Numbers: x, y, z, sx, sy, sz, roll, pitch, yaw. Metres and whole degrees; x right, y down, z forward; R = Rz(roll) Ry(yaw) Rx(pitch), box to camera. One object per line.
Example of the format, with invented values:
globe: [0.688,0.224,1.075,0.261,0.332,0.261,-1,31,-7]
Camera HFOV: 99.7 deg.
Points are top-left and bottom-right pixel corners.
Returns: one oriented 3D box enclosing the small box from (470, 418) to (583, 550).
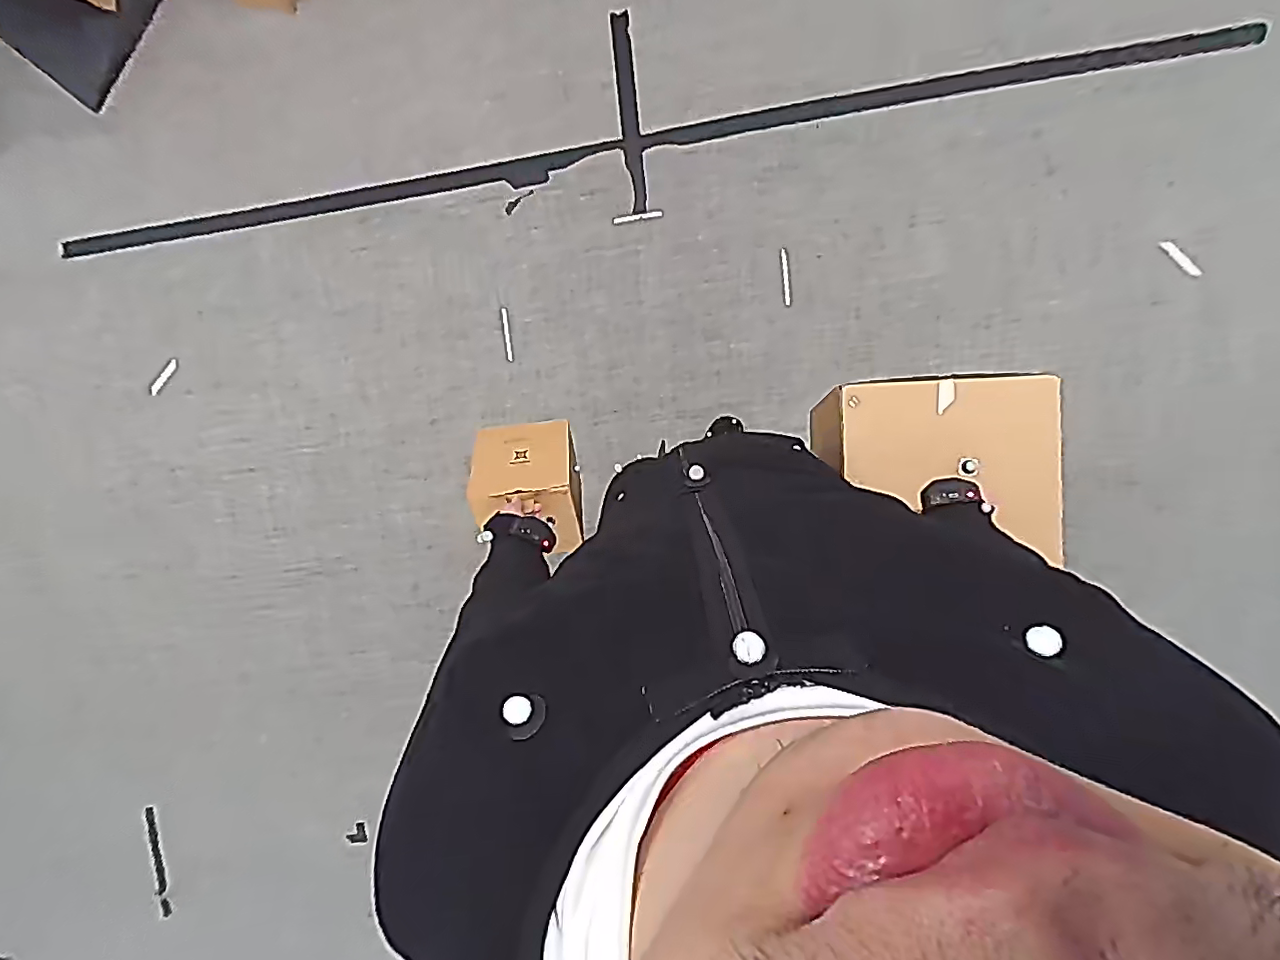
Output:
small box: [-0.198,0.014,0.987,0.168,0.179,0.176,-7,136,-3]
